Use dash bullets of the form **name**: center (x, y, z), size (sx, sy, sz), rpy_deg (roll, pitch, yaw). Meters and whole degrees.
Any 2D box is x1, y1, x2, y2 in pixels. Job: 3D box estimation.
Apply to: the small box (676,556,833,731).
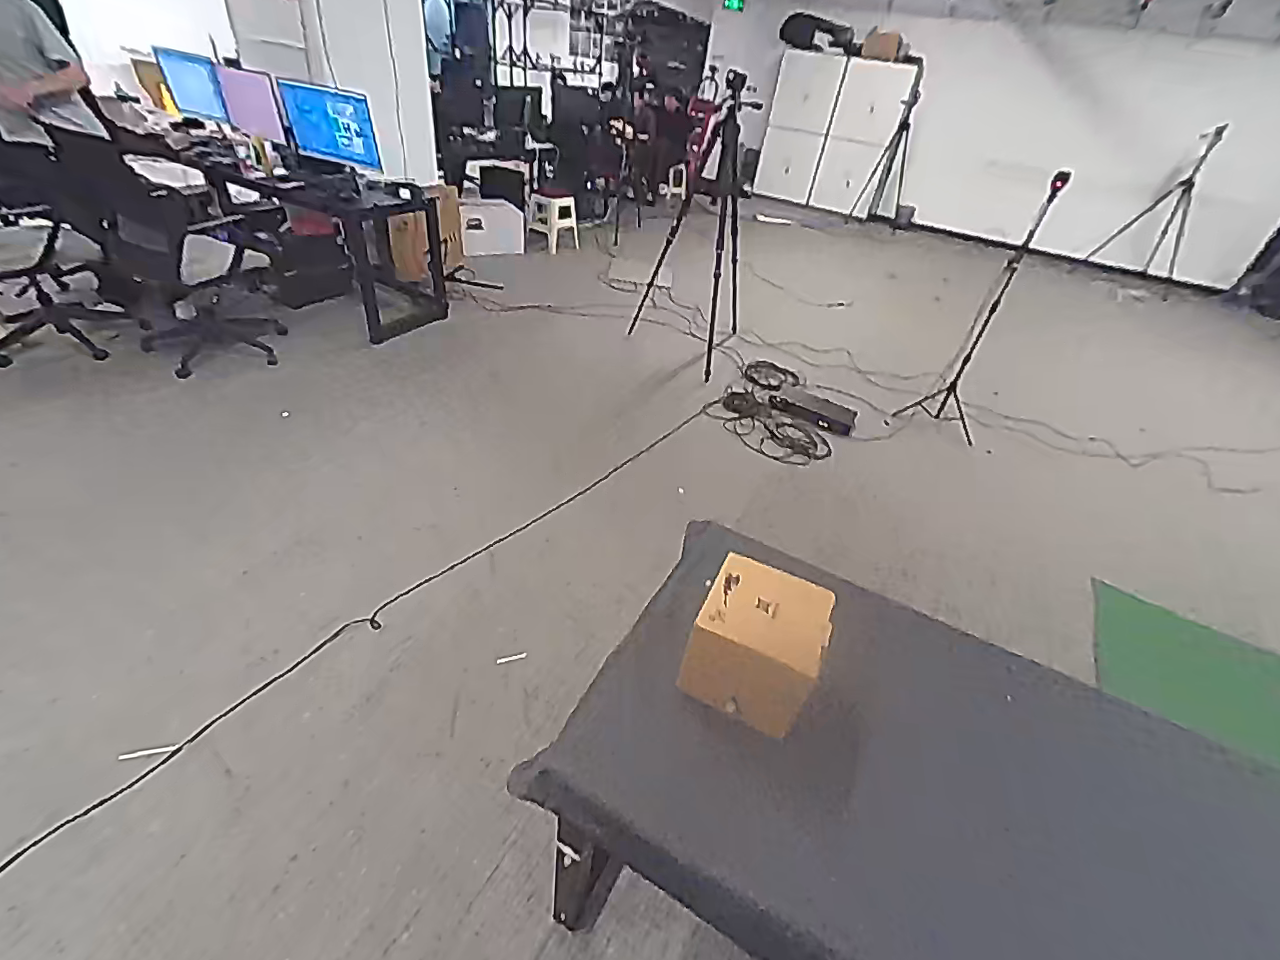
- **small box**: center (0.174, 0.256, 0.841), size (0.179, 0.176, 0.168), rpy_deg (22, 39, 16)
